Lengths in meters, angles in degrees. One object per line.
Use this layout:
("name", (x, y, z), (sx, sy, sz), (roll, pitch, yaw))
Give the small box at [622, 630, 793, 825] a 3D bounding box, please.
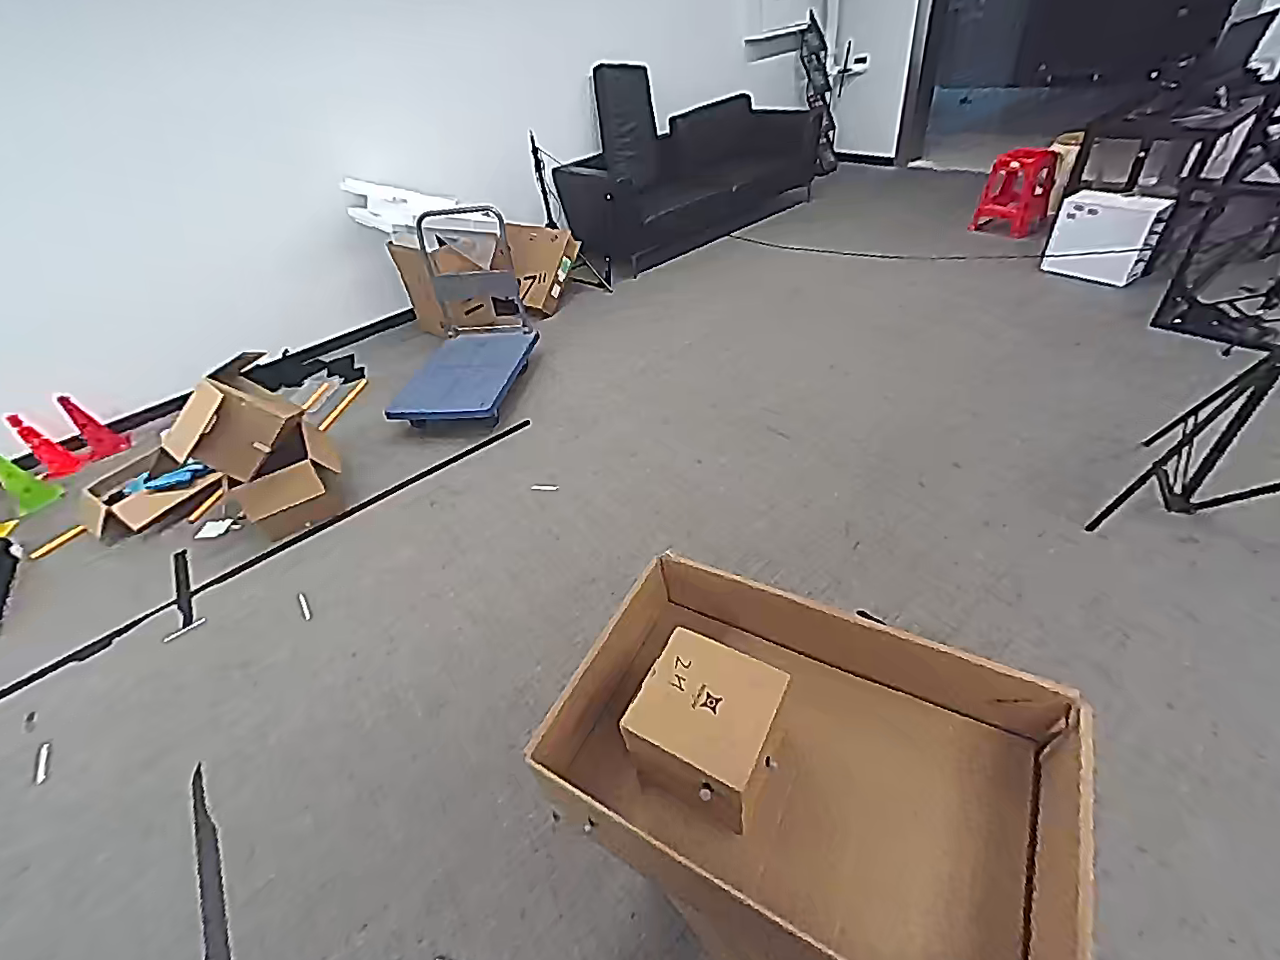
("small box", (0.101, 0.351, 0.763), (0.179, 0.176, 0.168), (17, 48, 28))
